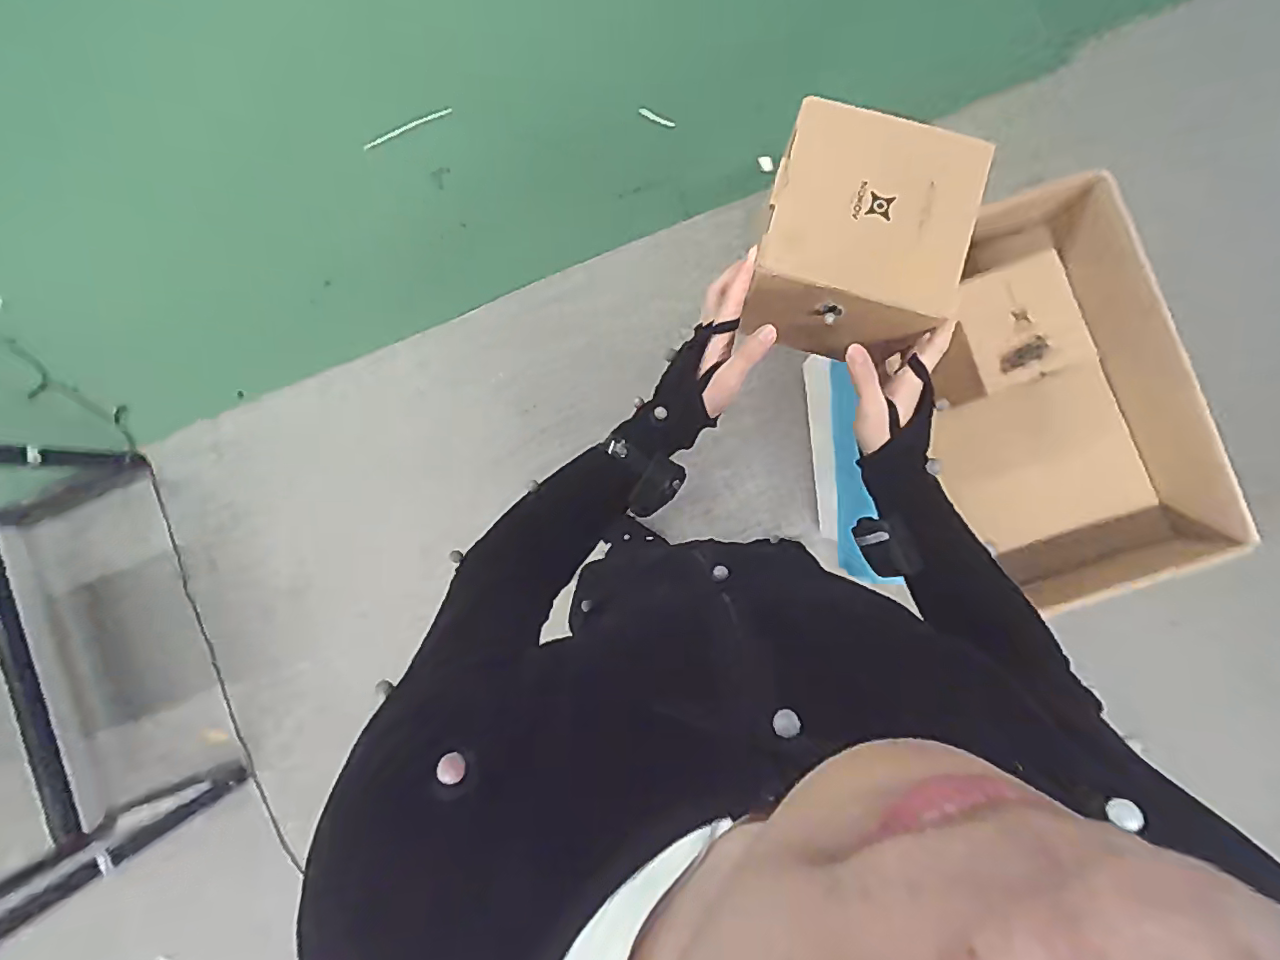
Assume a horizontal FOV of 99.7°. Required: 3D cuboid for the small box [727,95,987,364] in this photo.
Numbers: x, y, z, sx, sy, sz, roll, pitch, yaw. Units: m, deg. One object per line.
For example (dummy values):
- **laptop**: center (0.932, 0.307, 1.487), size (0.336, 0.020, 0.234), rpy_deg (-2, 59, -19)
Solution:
- **small box**: center (0.196, -0.231, 0.543), size (0.179, 0.176, 0.168), rpy_deg (16, 87, 2)
